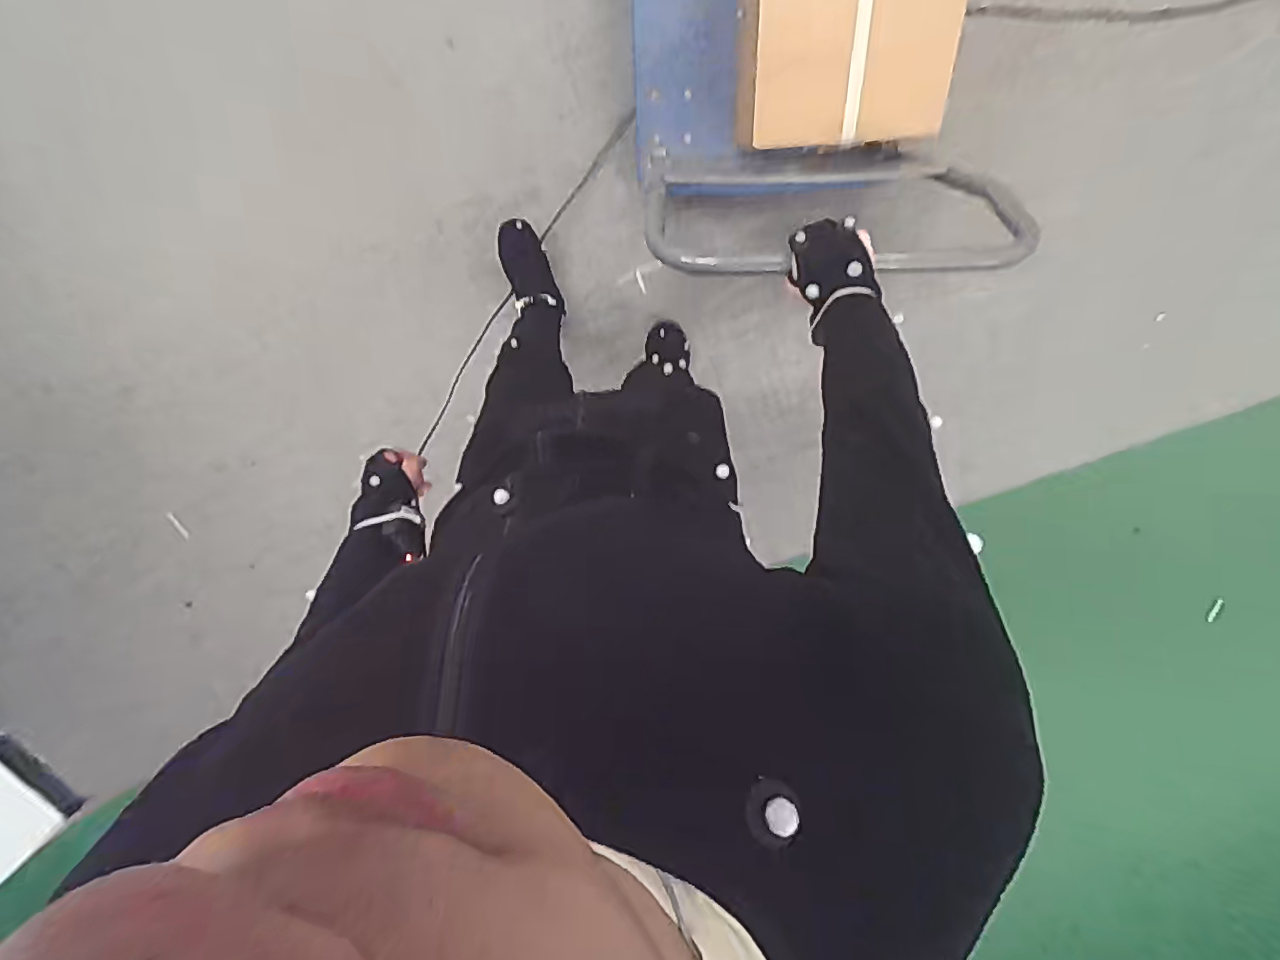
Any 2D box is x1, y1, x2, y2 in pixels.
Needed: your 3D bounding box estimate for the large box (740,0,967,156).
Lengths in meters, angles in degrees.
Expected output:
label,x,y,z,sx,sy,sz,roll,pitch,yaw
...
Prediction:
label,x,y,z,sx,sy,sz,roll,pitch,yaw
large box,0.348,-0.812,0.943,0.320,0.320,0.408,-1,122,3
